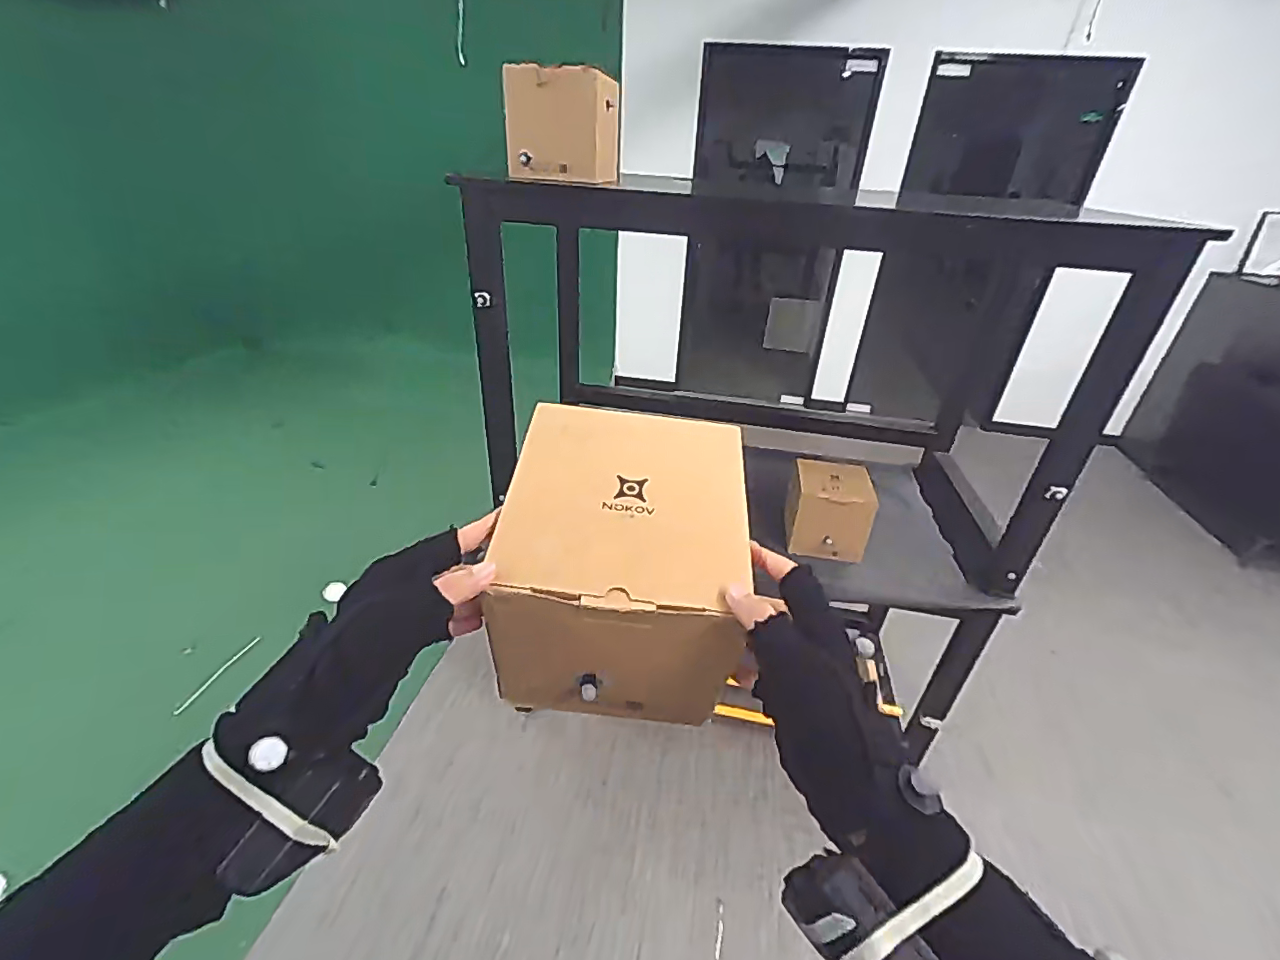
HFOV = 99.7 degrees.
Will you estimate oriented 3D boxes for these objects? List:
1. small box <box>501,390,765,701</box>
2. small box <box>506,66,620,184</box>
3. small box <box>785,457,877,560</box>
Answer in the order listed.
[{"bbox_3d":[-0.008,0.053,0.440,0.168,0.176,0.179,6,46,-2],"label":"small box"},{"bbox_3d":[-0.135,-0.651,1.006,0.168,0.176,0.179,8,30,6],"label":"small box"},{"bbox_3d":[0.446,0.066,1.291,0.168,0.176,0.179,7,30,8],"label":"small box"}]
